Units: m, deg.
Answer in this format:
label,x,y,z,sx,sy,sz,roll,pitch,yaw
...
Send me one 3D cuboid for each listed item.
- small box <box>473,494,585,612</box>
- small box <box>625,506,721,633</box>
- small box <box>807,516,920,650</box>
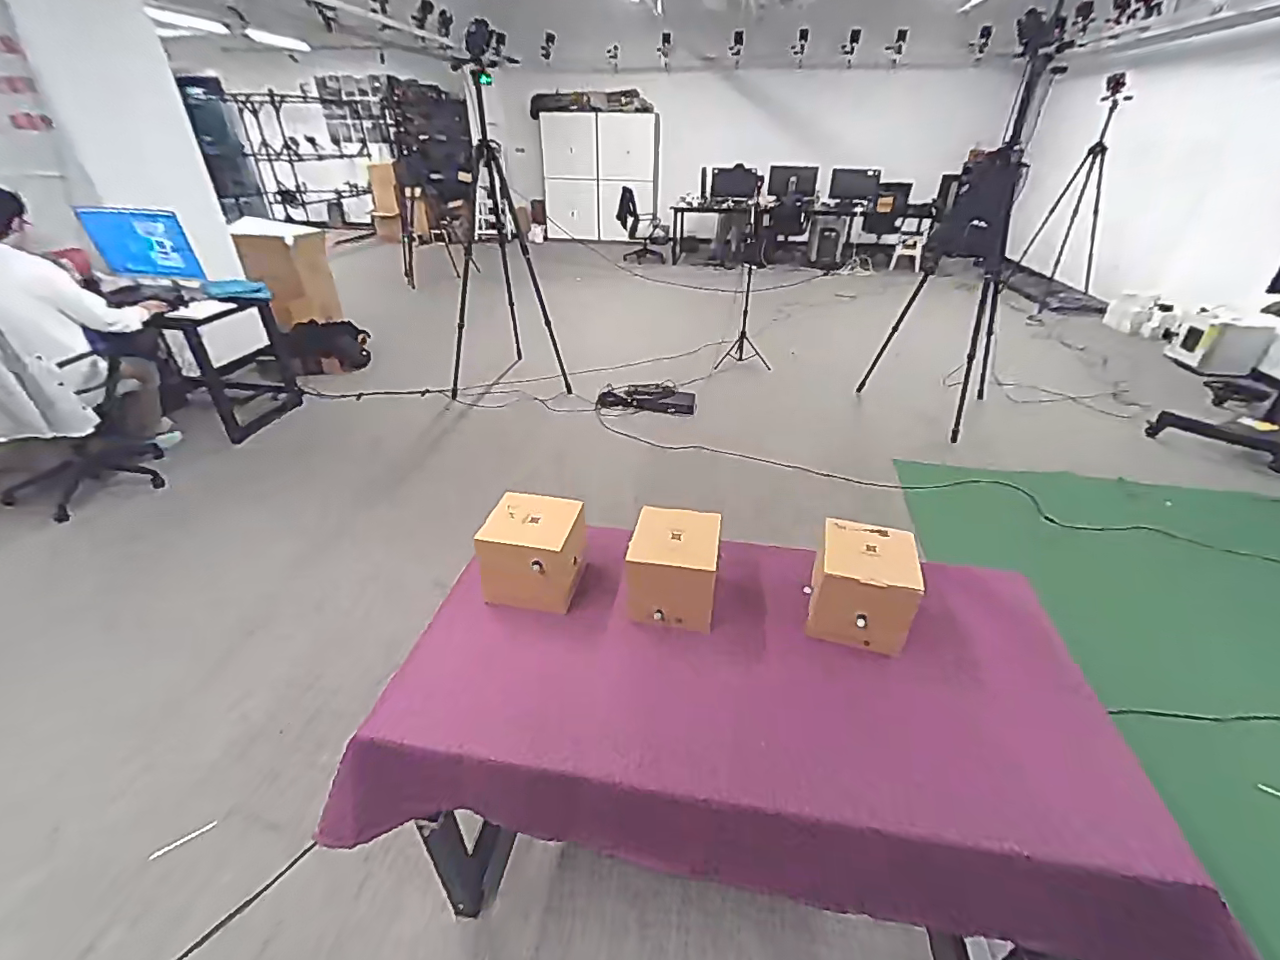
label,x,y,z,sx,sy,sz,roll,pitch,yaw
small box,-0.218,0.151,1.118,0.179,0.176,0.168,6,32,10
small box,0.067,0.175,1.081,0.168,0.176,0.179,5,33,10
small box,0.420,0.197,1.039,0.168,0.176,0.179,10,34,14
